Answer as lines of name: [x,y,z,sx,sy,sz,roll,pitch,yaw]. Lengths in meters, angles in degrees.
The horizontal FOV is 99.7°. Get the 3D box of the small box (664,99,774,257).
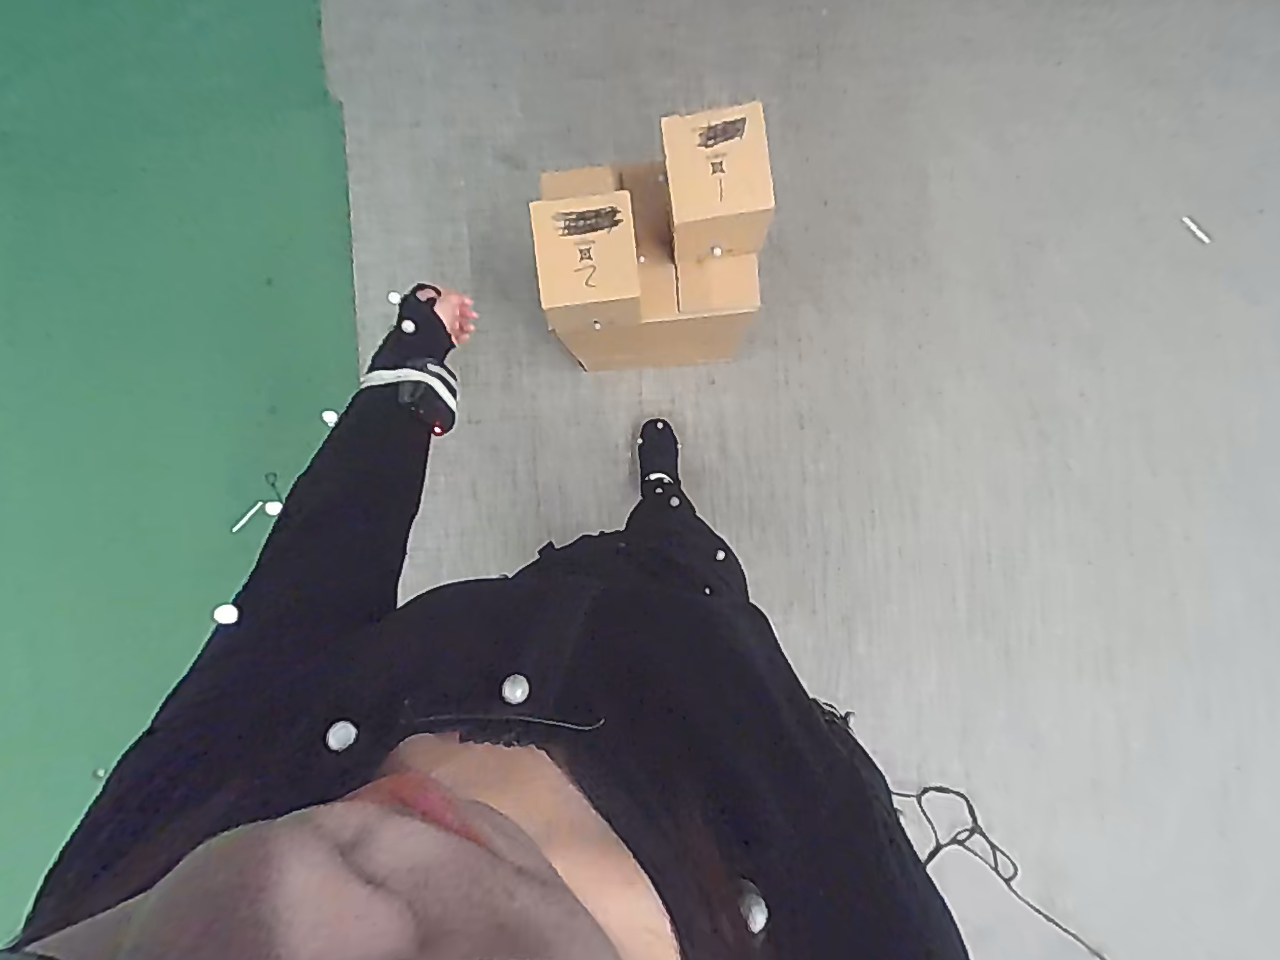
small box: [0.132,-0.517,0.950,0.168,0.176,0.179,-6,92,5]
